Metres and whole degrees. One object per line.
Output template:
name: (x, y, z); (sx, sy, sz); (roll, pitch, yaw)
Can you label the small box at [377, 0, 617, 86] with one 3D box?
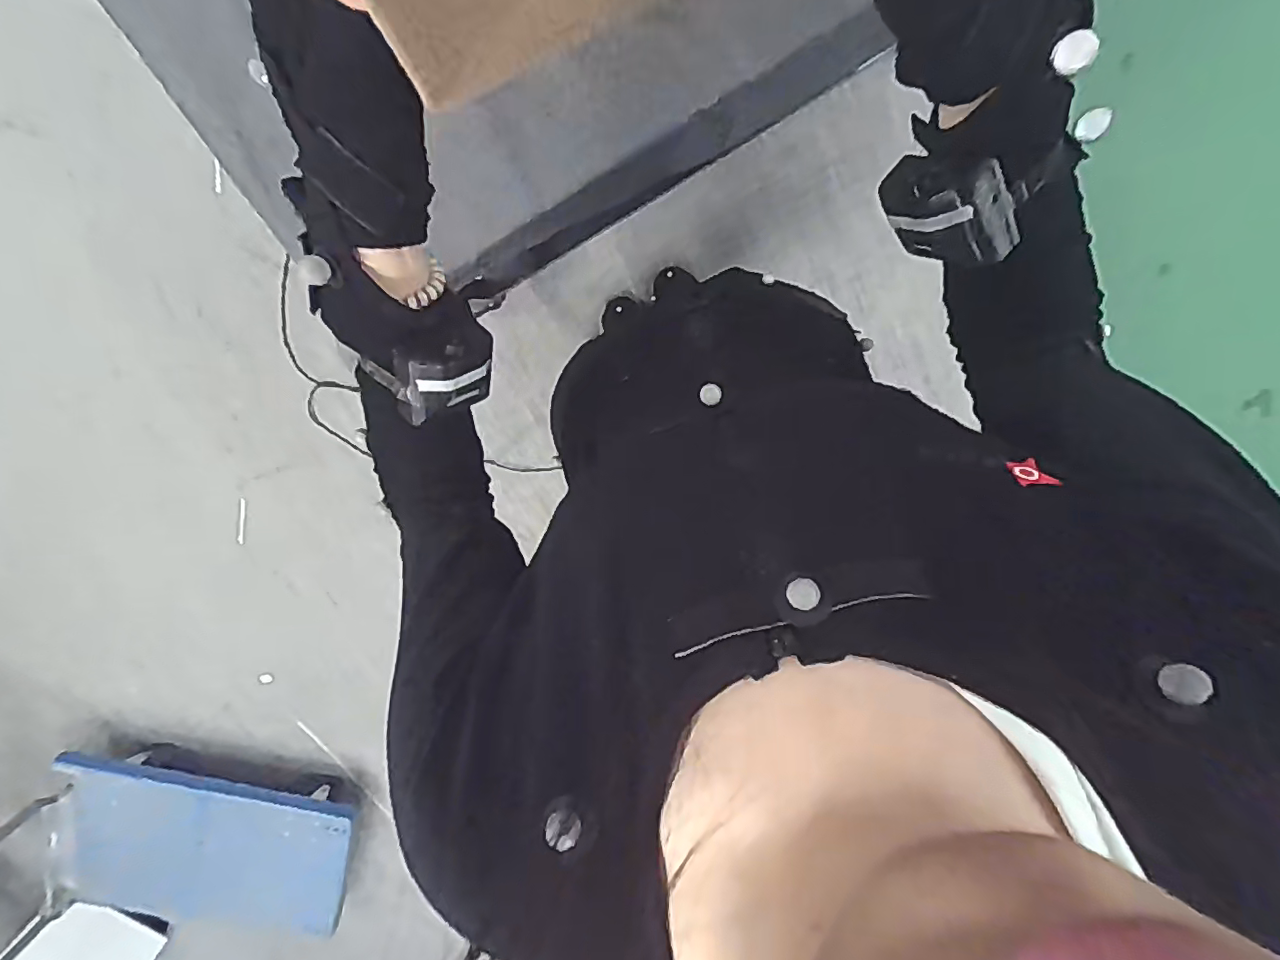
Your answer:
small box: (-0.045, -0.255, 0.159); (0.168, 0.179, 0.176); (-29, 118, 0)
